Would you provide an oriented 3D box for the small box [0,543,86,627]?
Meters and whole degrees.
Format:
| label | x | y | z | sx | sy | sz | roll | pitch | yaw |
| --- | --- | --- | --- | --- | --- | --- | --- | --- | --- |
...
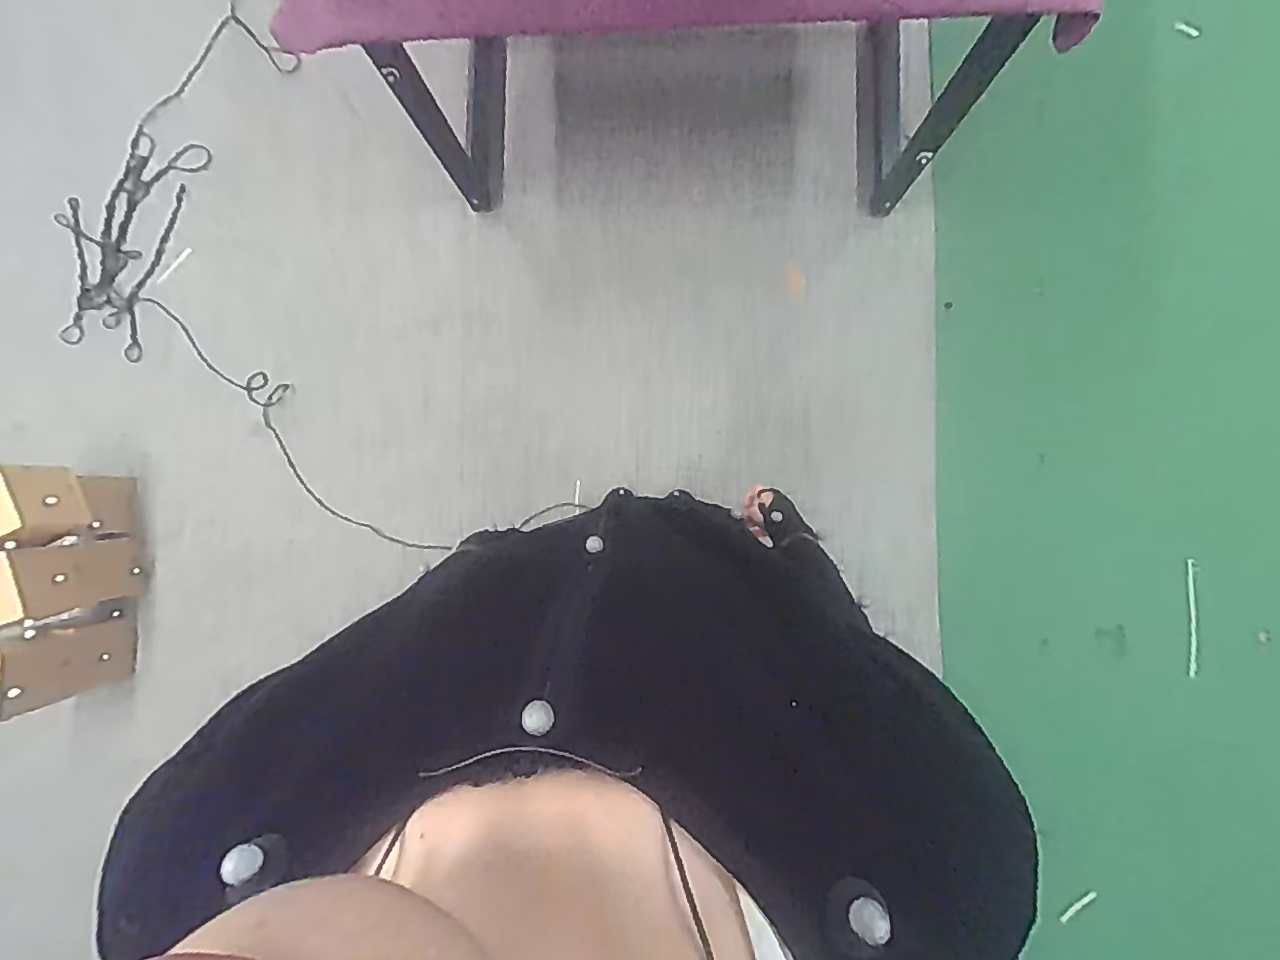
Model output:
| label | x | y | z | sx | sy | sz | roll | pitch | yaw |
| --- | --- | --- | --- | --- | --- | --- | --- | --- | --- |
| small box | -1.531 | 0.261 | 1.332 | 0.179 | 0.176 | 0.168 | -17 | 88 | 3 |

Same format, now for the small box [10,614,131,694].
| label | x | y | z | sx | sy | sz | roll | pitch | yaw |
| --- | --- | --- | --- | --- | --- | --- | --- | --- | --- |
| small box | -1.559 | 0.472 | 1.490 | 0.168 | 0.176 | 0.179 | 0 | 90 | 3 |

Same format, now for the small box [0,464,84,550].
| label | x | y | z | sx | sy | sz | roll | pitch | yaw |
| --- | --- | --- | --- | --- | --- | --- | --- | --- | --- |
| small box | -1.543 | 0.064 | 1.334 | 0.179 | 0.176 | 0.168 | -25 | 88 | 3 |
